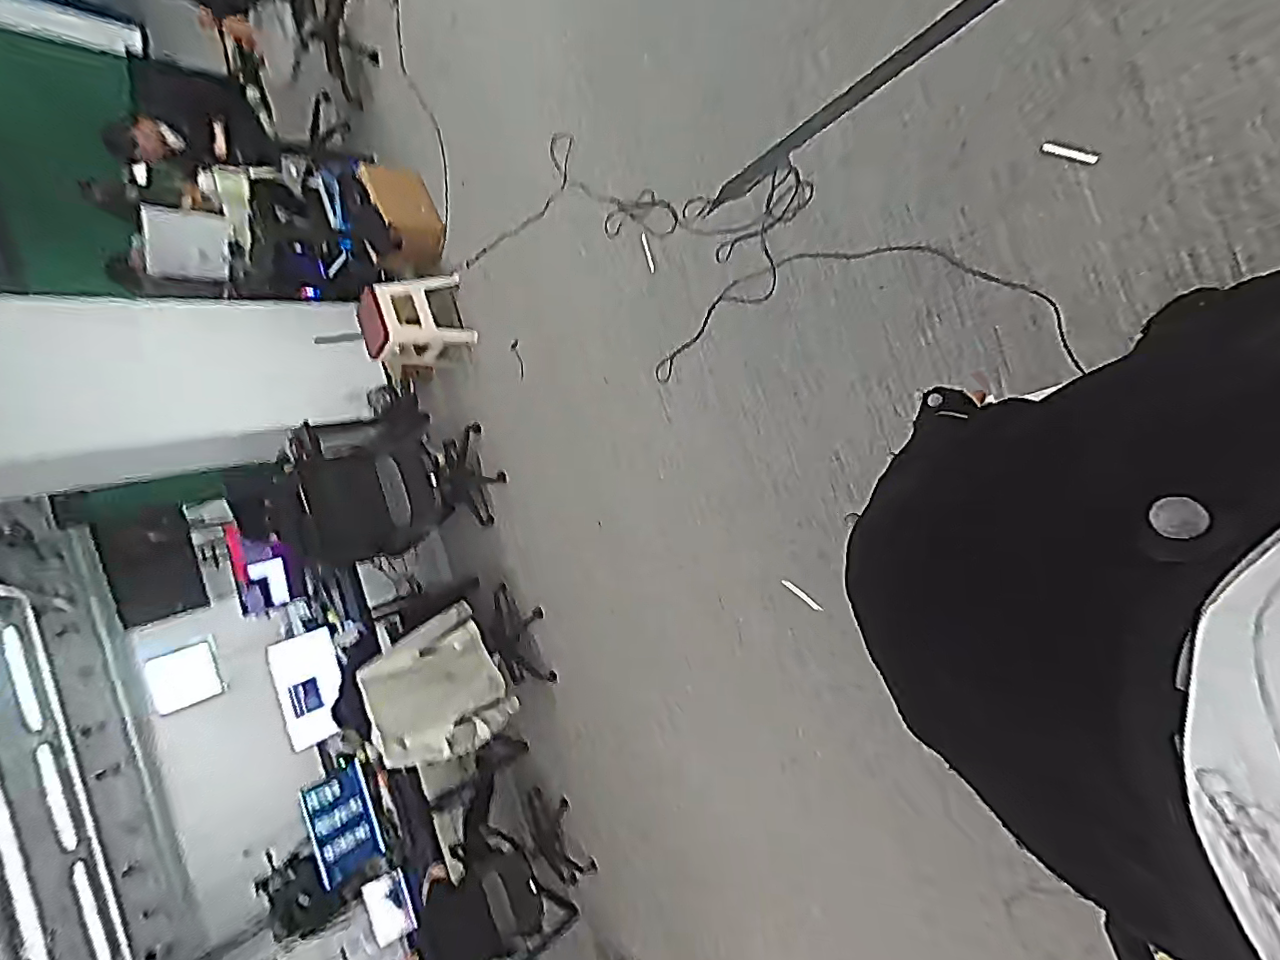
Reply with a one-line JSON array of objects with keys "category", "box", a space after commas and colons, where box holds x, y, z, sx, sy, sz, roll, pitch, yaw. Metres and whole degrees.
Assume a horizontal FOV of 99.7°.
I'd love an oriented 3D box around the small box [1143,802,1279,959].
[{"category": "small box", "box": [0.711, 0.516, 0.618, 0.168, 0.176, 0.179, -16, 88, 46]}]
